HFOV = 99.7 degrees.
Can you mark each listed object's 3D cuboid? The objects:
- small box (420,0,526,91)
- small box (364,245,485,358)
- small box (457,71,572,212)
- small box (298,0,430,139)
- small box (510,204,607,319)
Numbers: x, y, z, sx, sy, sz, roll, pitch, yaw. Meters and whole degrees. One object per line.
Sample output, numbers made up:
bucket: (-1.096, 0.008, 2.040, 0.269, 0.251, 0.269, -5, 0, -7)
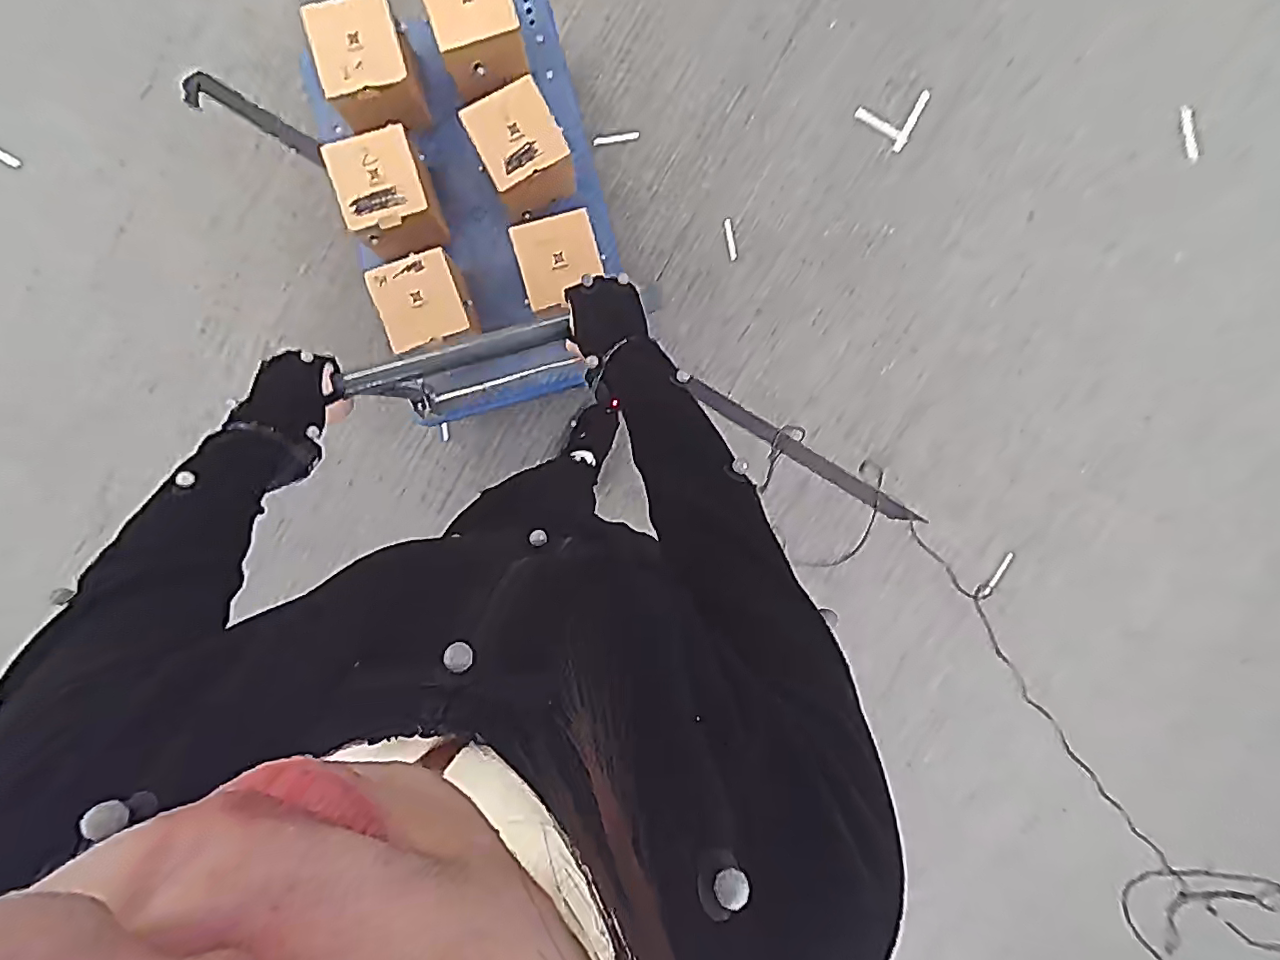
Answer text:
small box: (-0.352, -0.961, 1.134, 0.168, 0.176, 0.179, -20, 95, -2)
small box: (-0.454, -0.374, 1.171, 0.168, 0.176, 0.179, -20, 96, -3)
small box: (-0.257, -0.707, 1.159, 0.168, 0.176, 0.179, -29, 95, -1)
small box: (-0.563, -0.858, 1.127, 0.168, 0.176, 0.179, -15, 96, -2)
small box: (-0.170, -0.465, 1.185, 0.168, 0.176, 0.179, -16, 95, -3)
